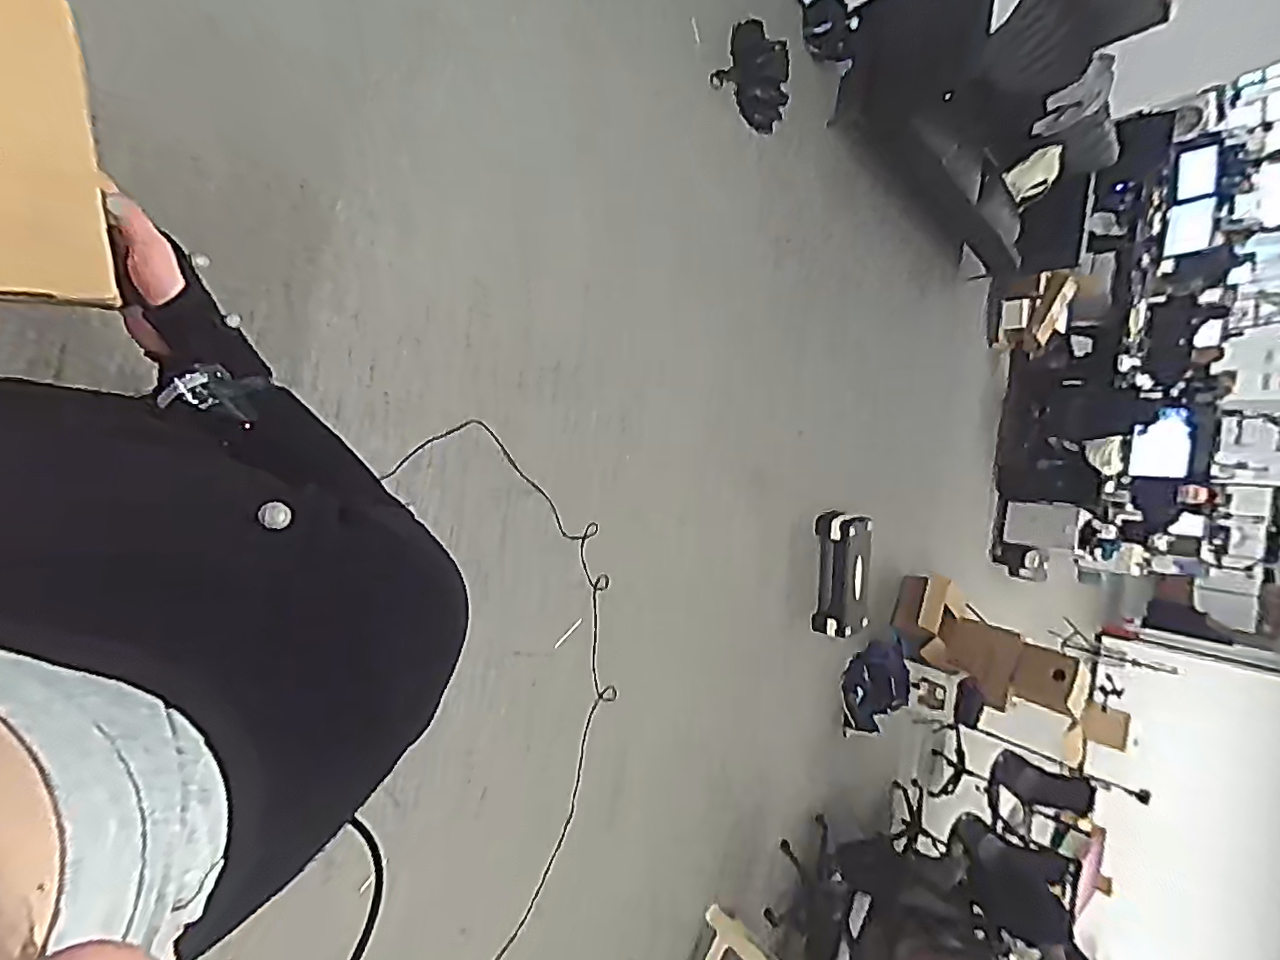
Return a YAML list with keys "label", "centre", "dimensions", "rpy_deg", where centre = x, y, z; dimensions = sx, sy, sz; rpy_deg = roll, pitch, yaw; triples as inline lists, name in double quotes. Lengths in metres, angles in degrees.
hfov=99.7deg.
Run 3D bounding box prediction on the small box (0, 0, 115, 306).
- label: "small box"
  centre: [-0.449, -0.205, 0.333]
  dimensions: [0.168, 0.176, 0.179]
  rpy_deg: [-10, 109, -43]
